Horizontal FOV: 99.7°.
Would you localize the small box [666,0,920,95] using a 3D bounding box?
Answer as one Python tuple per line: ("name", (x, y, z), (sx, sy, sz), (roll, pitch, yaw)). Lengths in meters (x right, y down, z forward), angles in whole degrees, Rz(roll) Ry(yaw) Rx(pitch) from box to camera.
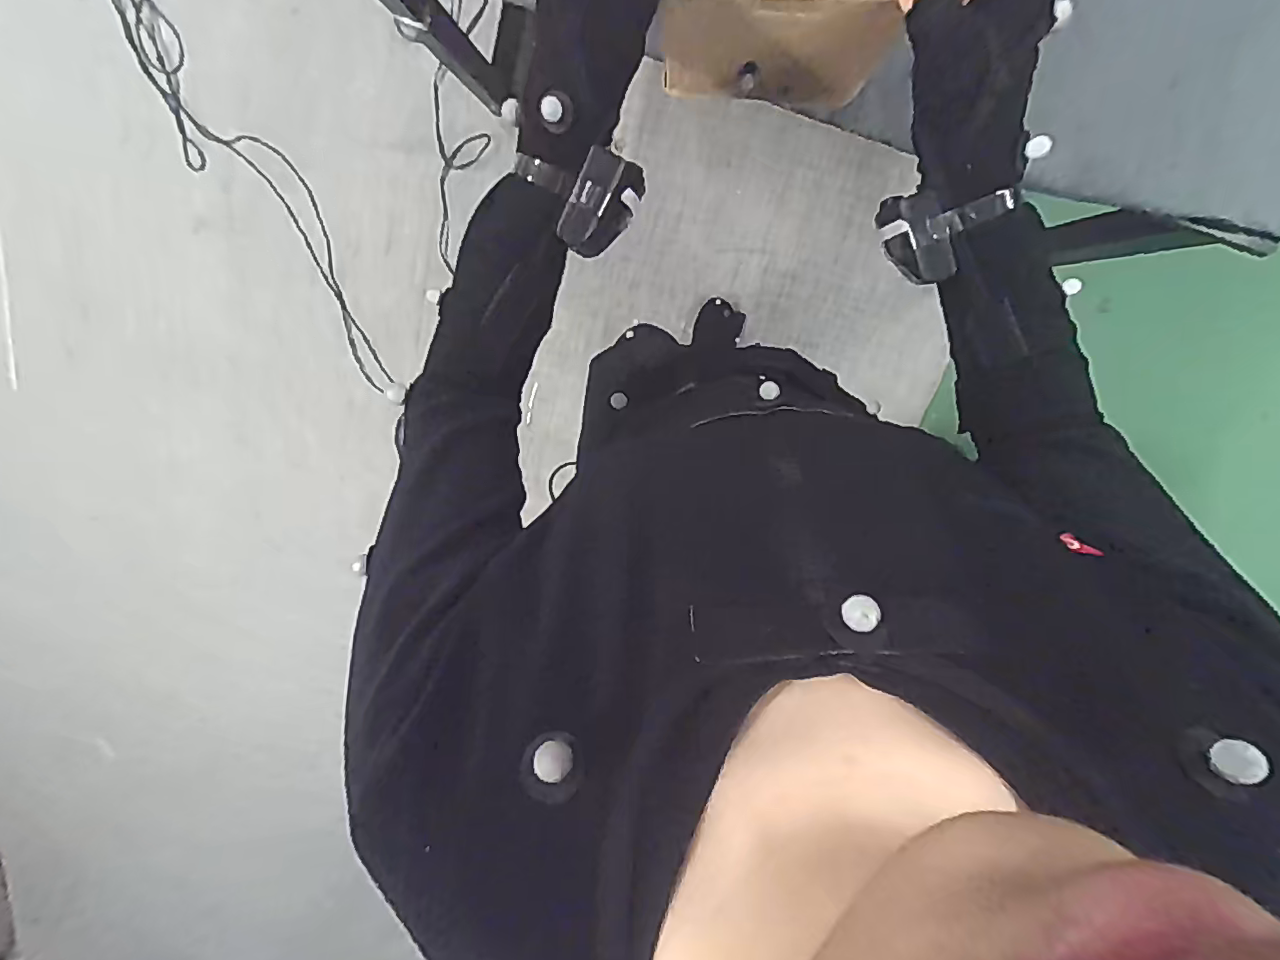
("small box", (0.107, -0.412, 0.385), (0.168, 0.176, 0.179), (5, 108, 2))
